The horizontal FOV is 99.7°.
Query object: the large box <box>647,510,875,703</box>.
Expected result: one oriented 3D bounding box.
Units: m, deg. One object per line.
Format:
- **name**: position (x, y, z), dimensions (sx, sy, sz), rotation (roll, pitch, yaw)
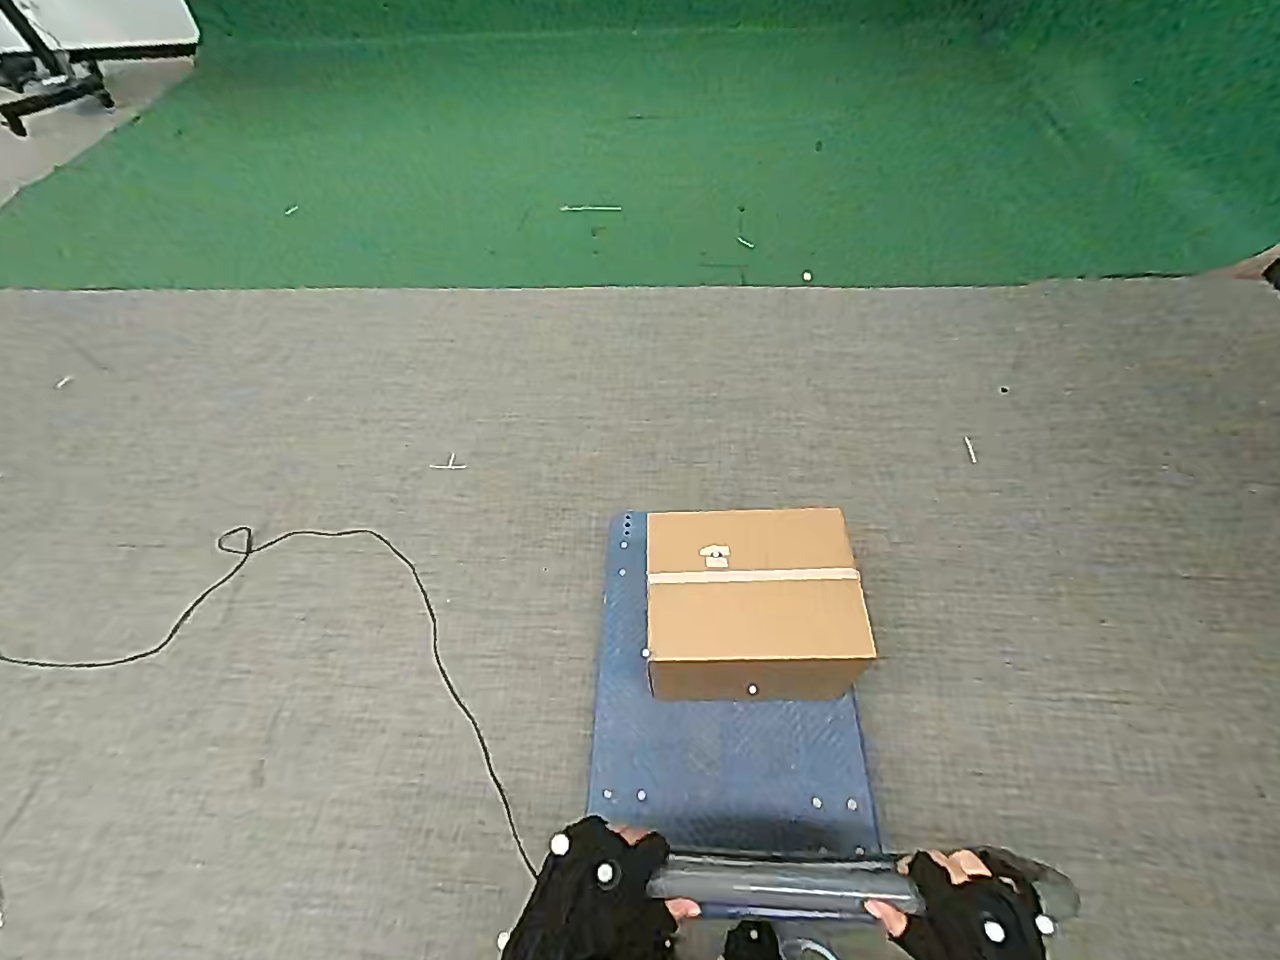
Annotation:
- **large box**: position (0.229, 0.284, 1.173), dimensions (0.408, 0.320, 0.320), rotation (-3, 54, 3)
